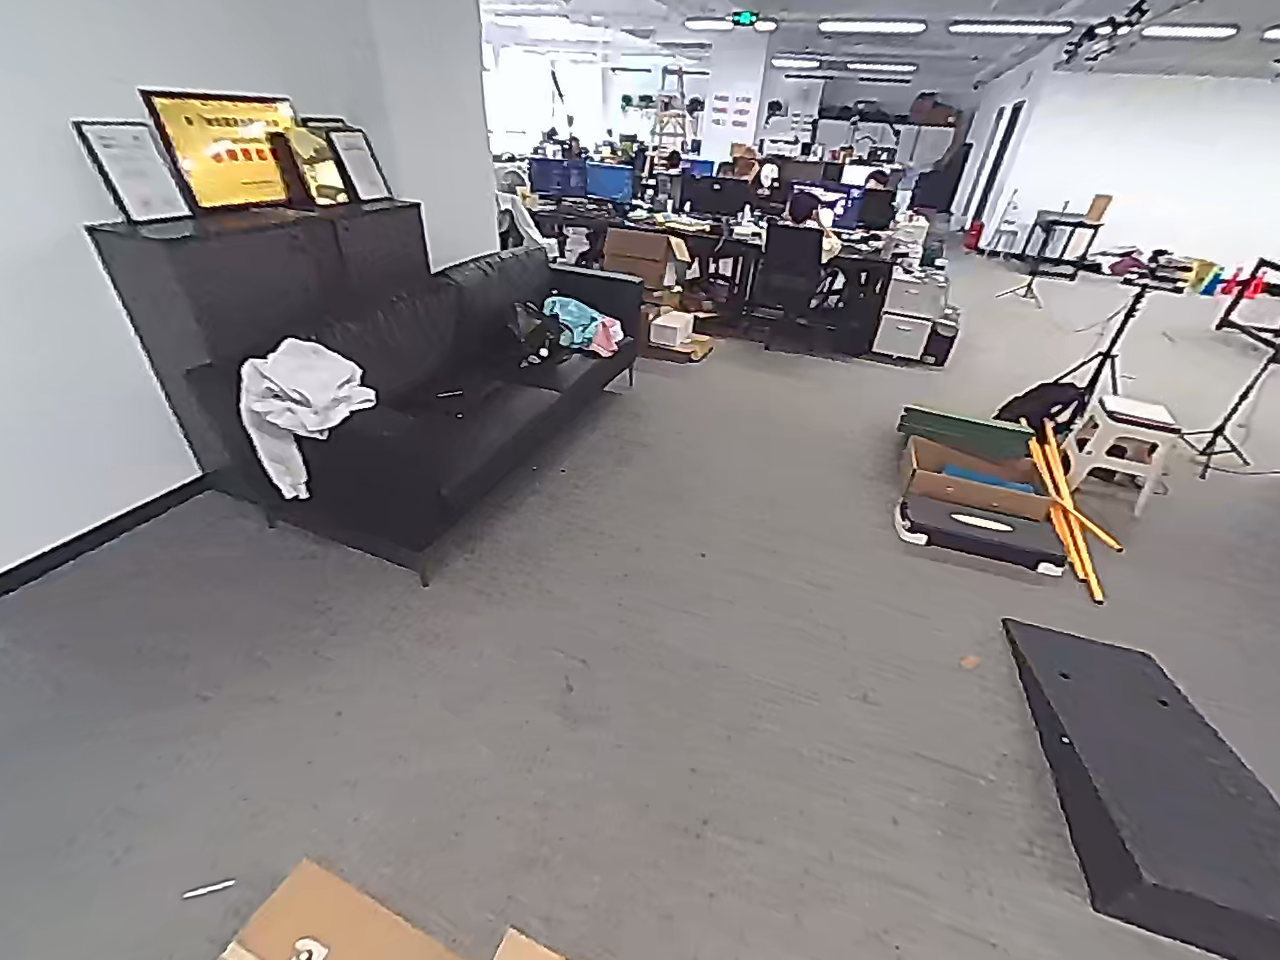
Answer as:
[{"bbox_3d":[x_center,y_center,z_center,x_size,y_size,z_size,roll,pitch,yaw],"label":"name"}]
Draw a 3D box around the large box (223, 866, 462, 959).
[{"bbox_3d":[-0.525,0.982,0.937,0.408,0.320,0.320,15,34,19],"label":"large box"}]
